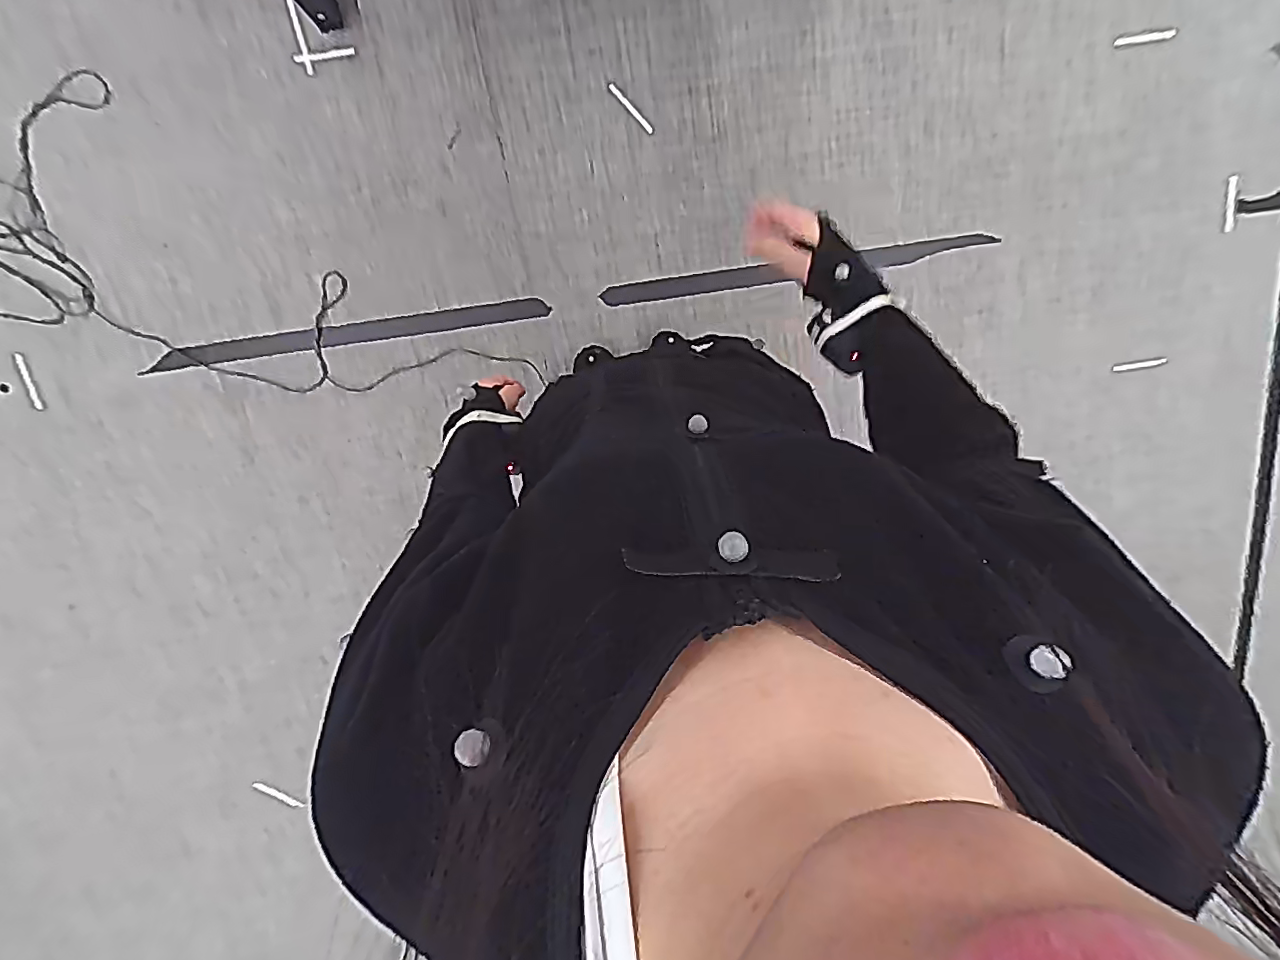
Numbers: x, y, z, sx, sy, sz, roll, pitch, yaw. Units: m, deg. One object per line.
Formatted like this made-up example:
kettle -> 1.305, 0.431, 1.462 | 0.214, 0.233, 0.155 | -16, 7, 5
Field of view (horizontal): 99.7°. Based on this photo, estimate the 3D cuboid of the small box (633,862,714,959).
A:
small box -> 0.083, 1.132, 1.397 | 0.179, 0.176, 0.168 | -10, 103, 0
